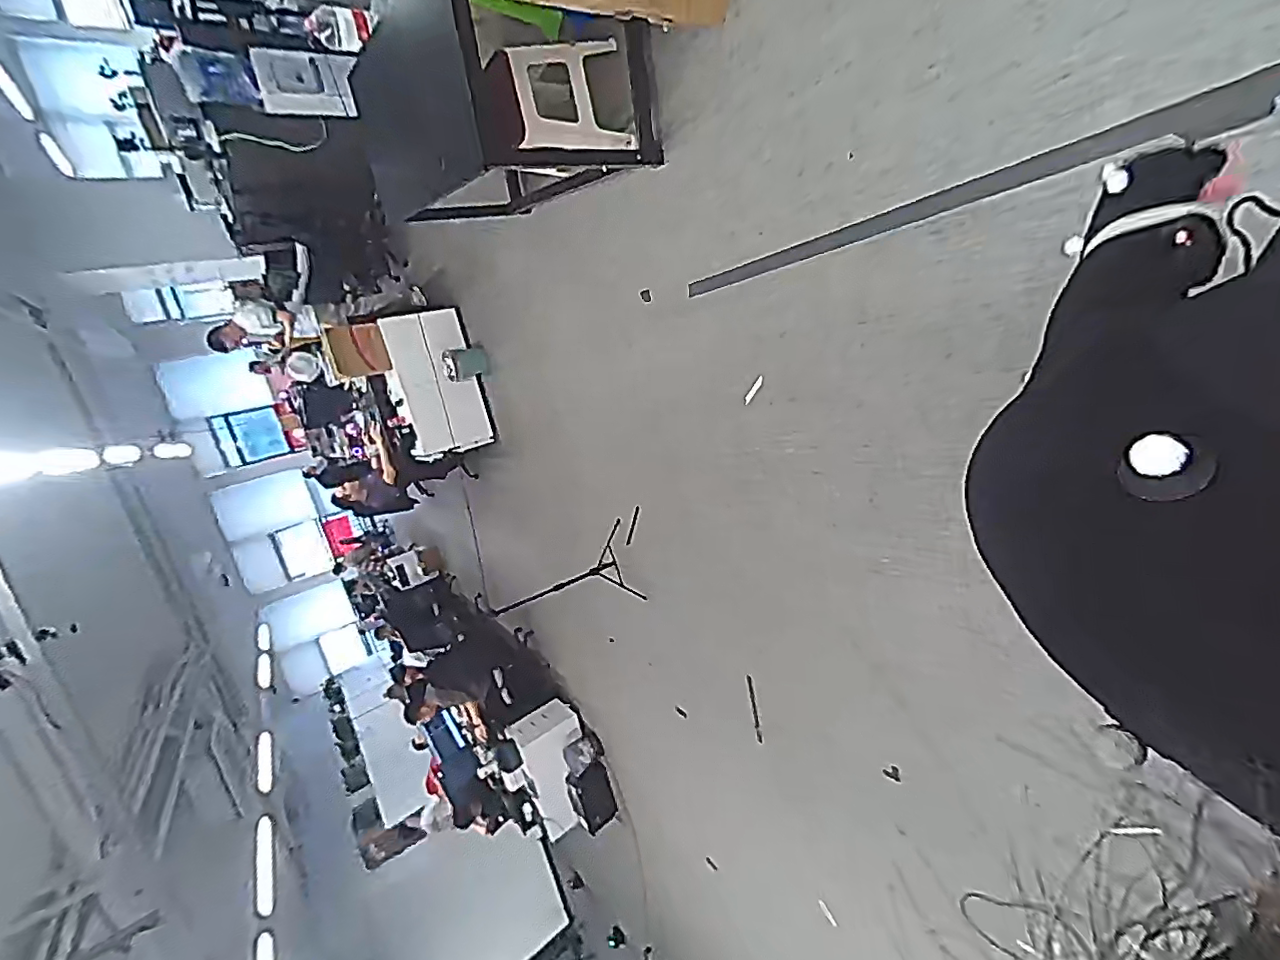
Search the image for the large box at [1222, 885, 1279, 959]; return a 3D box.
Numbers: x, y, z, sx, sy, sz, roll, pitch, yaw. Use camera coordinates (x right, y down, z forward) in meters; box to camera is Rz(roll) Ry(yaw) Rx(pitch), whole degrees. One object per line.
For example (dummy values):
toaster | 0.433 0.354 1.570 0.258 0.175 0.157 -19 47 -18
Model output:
large box | 1.494 1.185 1.114 0.408 0.320 0.320 16 122 50
